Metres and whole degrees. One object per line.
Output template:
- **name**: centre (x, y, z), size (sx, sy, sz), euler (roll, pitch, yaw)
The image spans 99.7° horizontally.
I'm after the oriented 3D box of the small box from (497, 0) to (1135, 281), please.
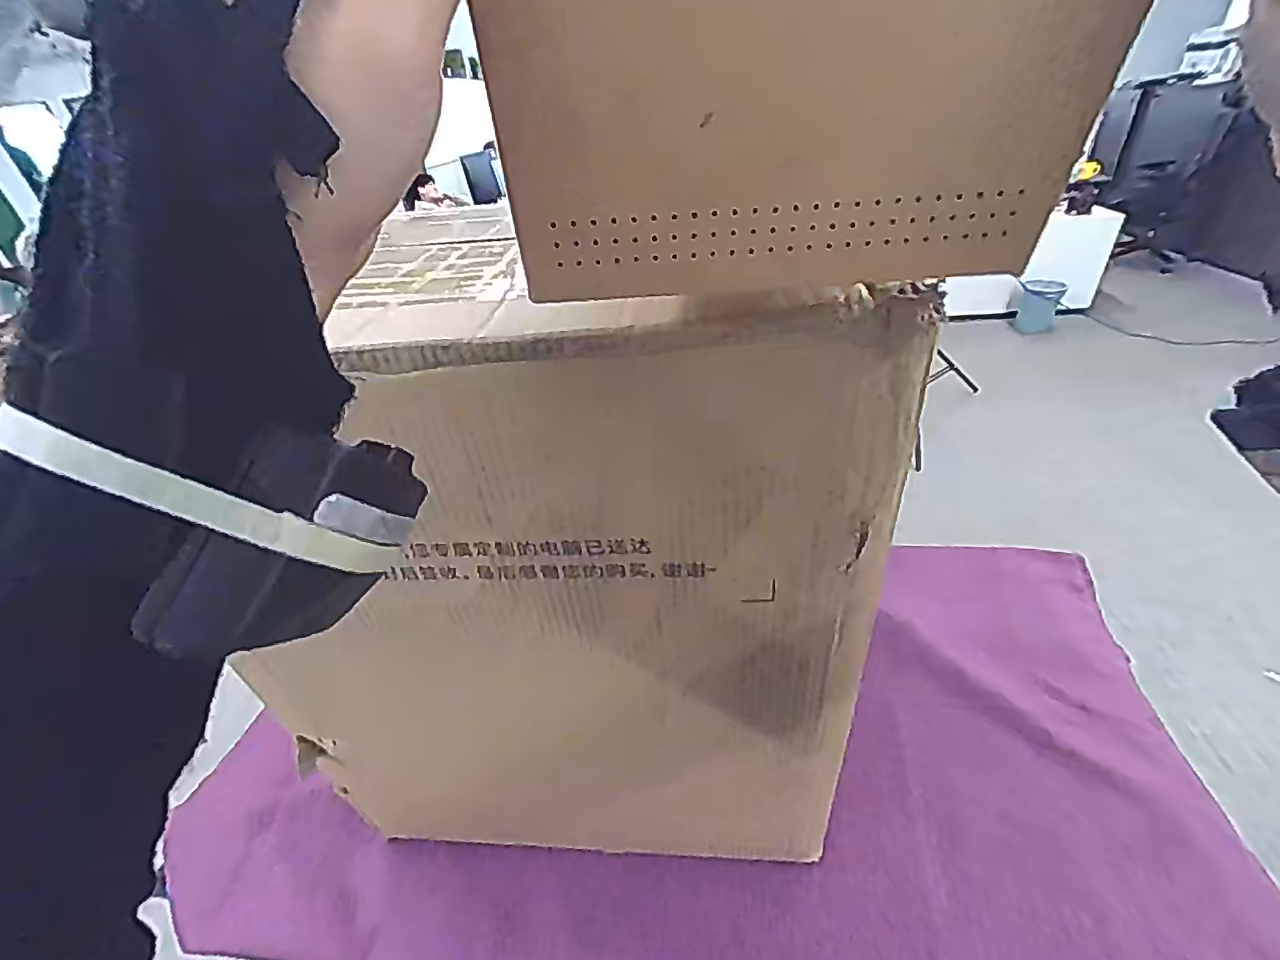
- **small box**: centre (0.046, -0.182, 0.186), size (0.179, 0.176, 0.168), euler (-3, 47, 0)
